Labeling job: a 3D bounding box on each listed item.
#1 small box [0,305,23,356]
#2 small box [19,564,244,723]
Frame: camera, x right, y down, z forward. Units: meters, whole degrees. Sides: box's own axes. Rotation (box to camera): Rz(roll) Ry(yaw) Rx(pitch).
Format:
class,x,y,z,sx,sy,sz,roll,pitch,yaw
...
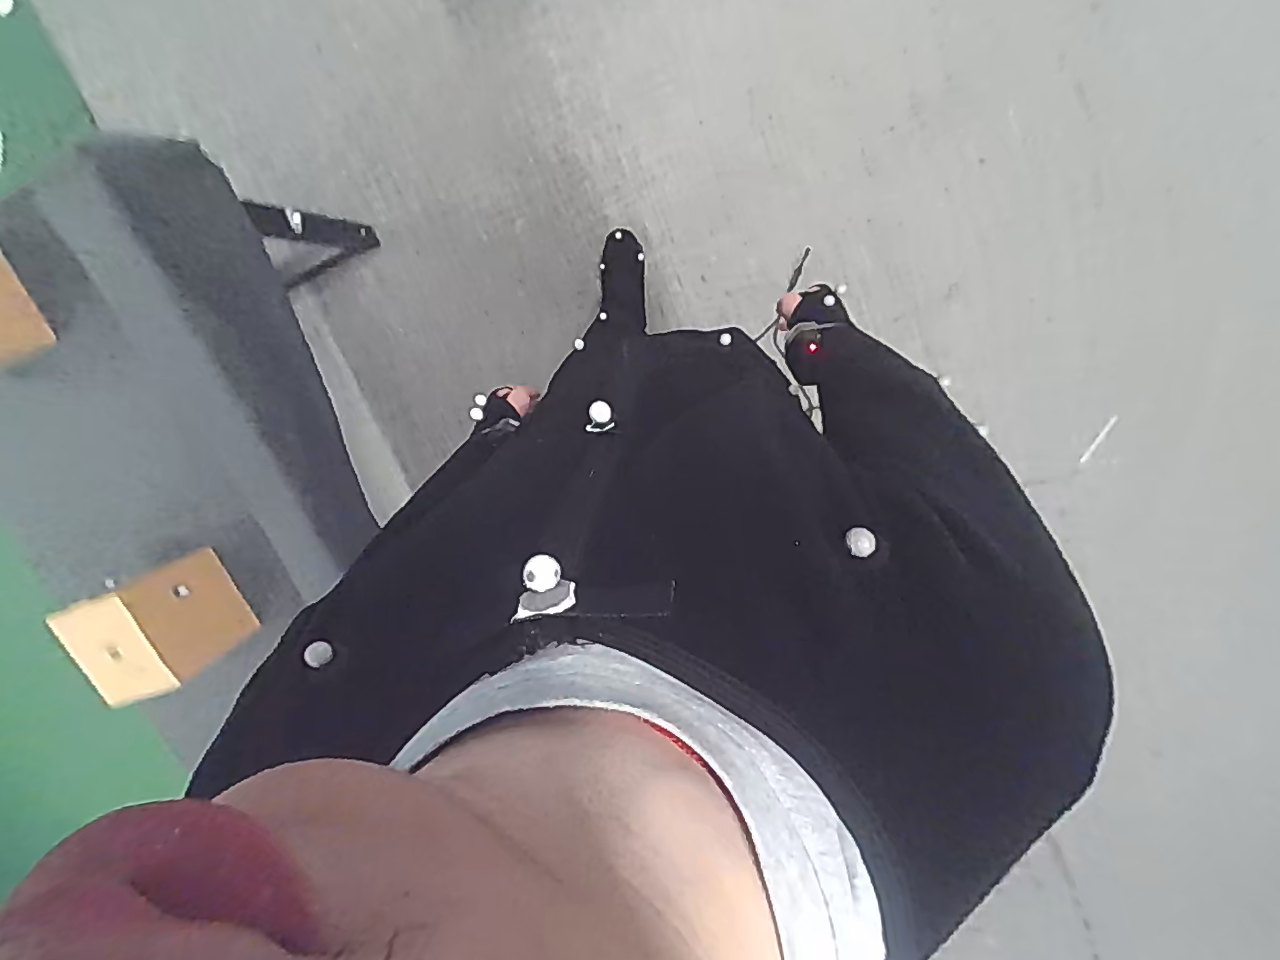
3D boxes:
class,x,y,z,sx,sy,sz,roll,pitch,yaw
small box,-1.055,-0.238,0.755,0.168,0.176,0.179,-18,104,11
small box,-0.821,0.258,0.893,0.168,0.176,0.179,-19,106,13
